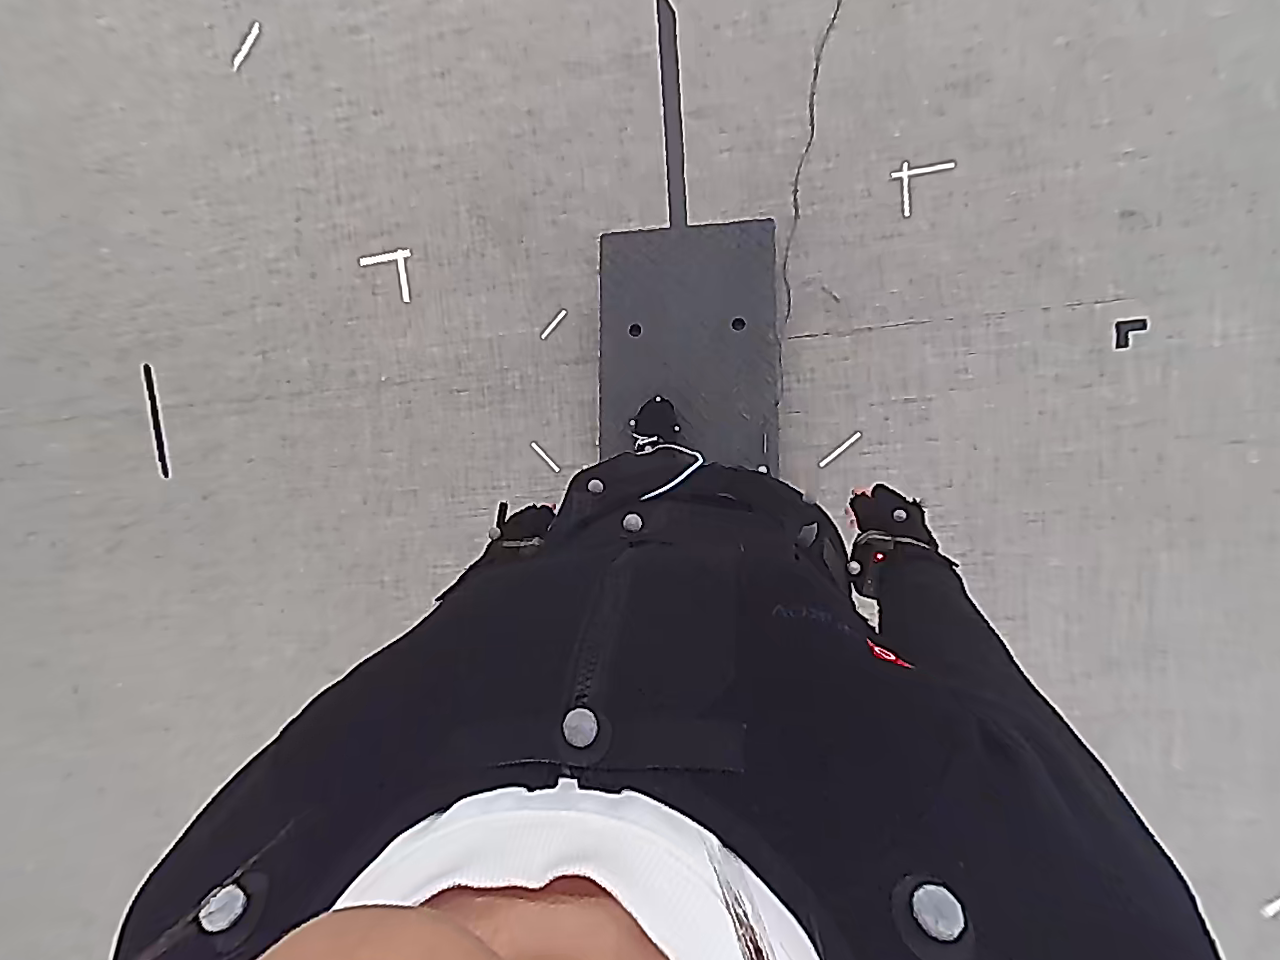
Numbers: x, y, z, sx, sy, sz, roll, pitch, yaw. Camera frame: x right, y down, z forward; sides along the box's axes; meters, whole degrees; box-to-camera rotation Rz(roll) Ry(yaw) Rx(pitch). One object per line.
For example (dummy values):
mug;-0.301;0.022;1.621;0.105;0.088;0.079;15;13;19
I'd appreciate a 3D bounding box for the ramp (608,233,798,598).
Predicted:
ramp;0.154;-0.182;1.490;0.509;0.206;0.991;-4;93;11
